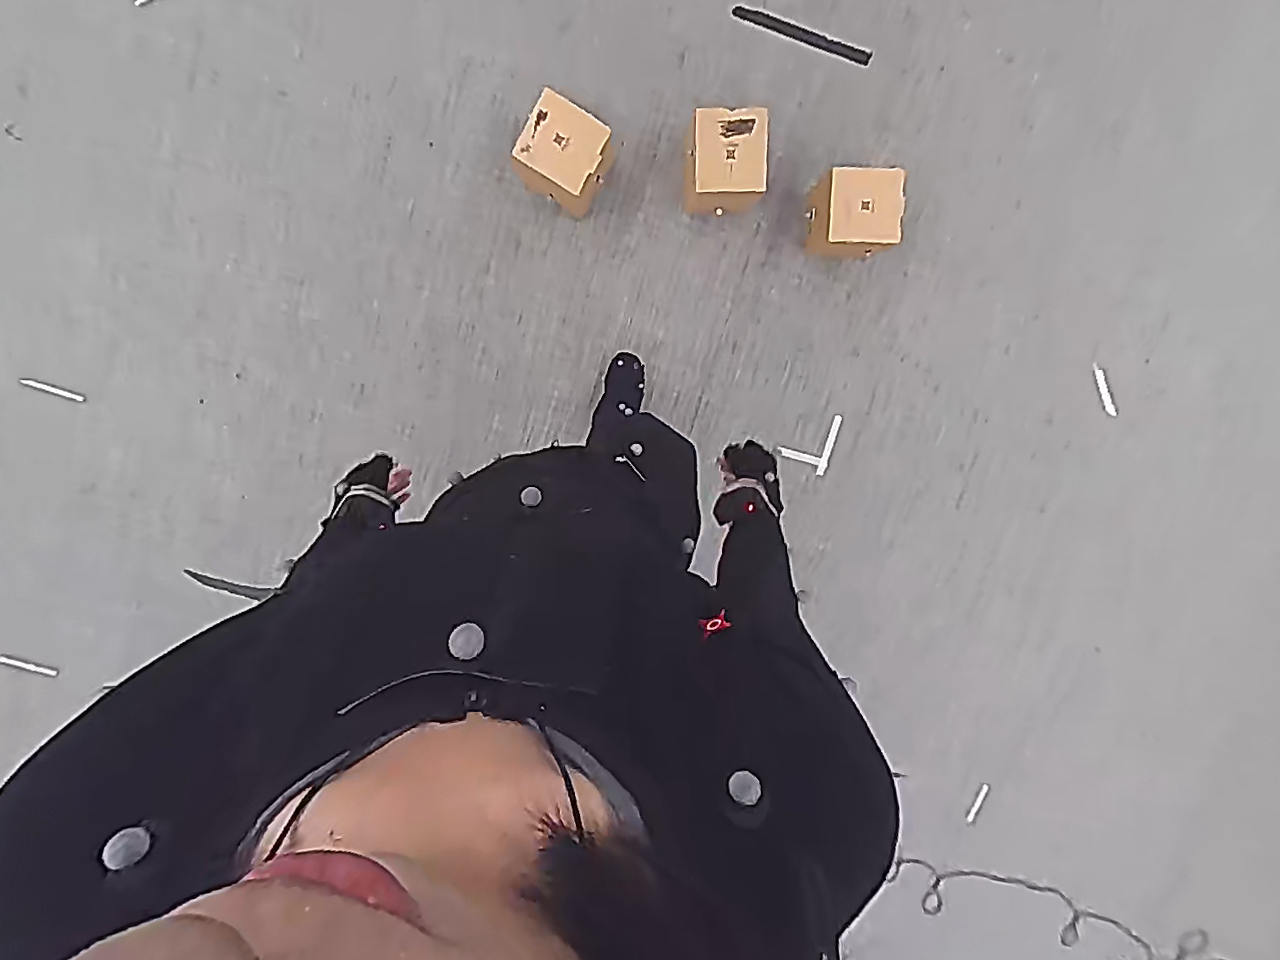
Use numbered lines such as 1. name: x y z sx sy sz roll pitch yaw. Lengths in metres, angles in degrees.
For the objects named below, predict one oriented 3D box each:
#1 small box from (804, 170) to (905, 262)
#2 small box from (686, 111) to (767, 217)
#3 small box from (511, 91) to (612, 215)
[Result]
1. small box: 0.522 -0.645 1.337 0.179 0.176 0.168 0 99 -1
2. small box: 0.202 -0.755 1.304 0.168 0.176 0.179 -1 100 -2
3. small box: -0.179 -0.764 1.291 0.179 0.176 0.168 30 97 -7
